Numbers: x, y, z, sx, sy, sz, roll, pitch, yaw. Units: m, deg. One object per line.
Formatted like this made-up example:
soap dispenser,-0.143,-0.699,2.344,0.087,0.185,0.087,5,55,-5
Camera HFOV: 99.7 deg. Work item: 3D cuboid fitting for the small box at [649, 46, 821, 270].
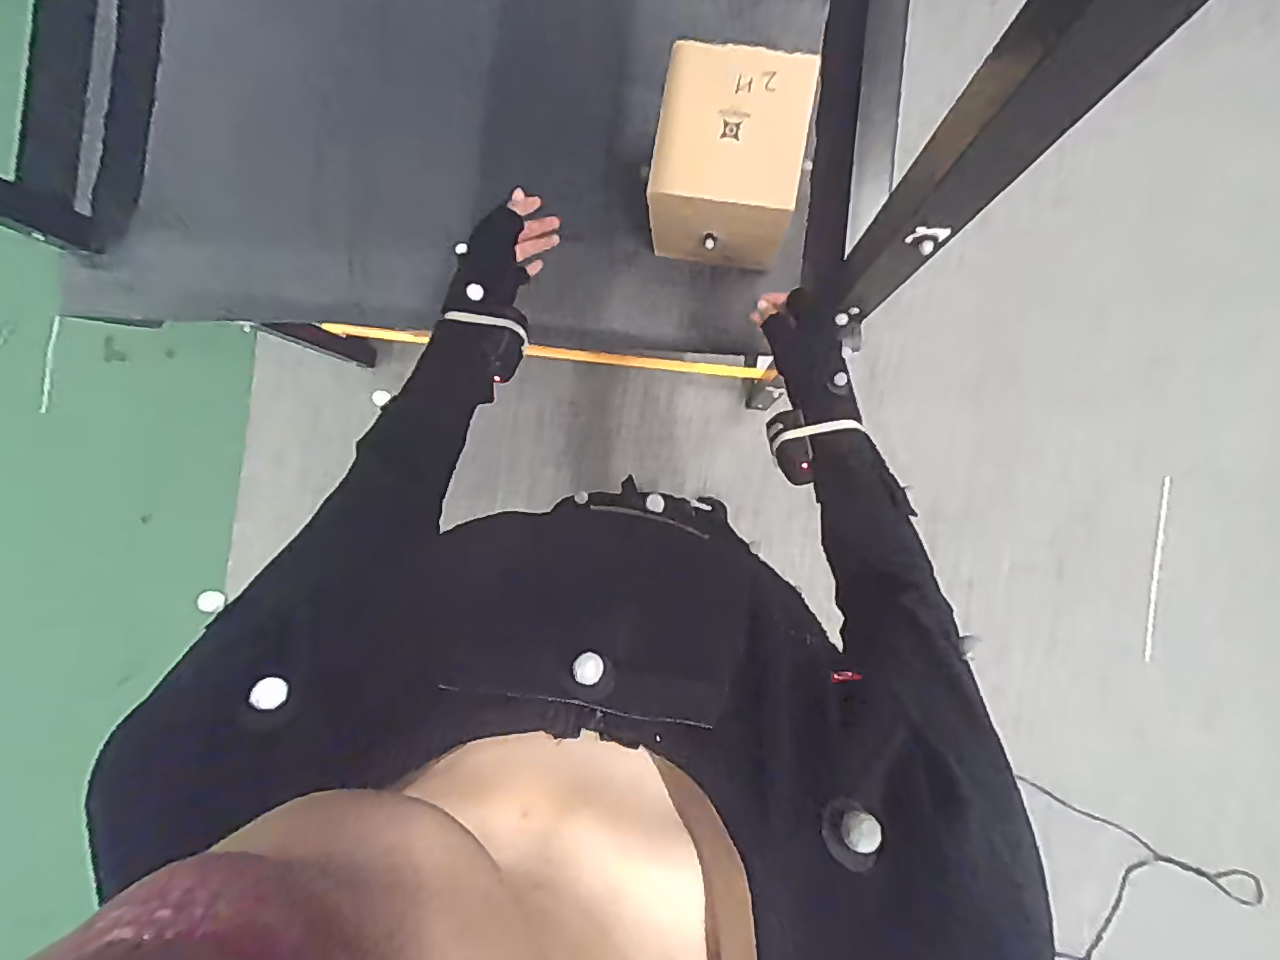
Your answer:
small box,0.111,-0.386,0.680,0.168,0.176,0.179,10,89,4
